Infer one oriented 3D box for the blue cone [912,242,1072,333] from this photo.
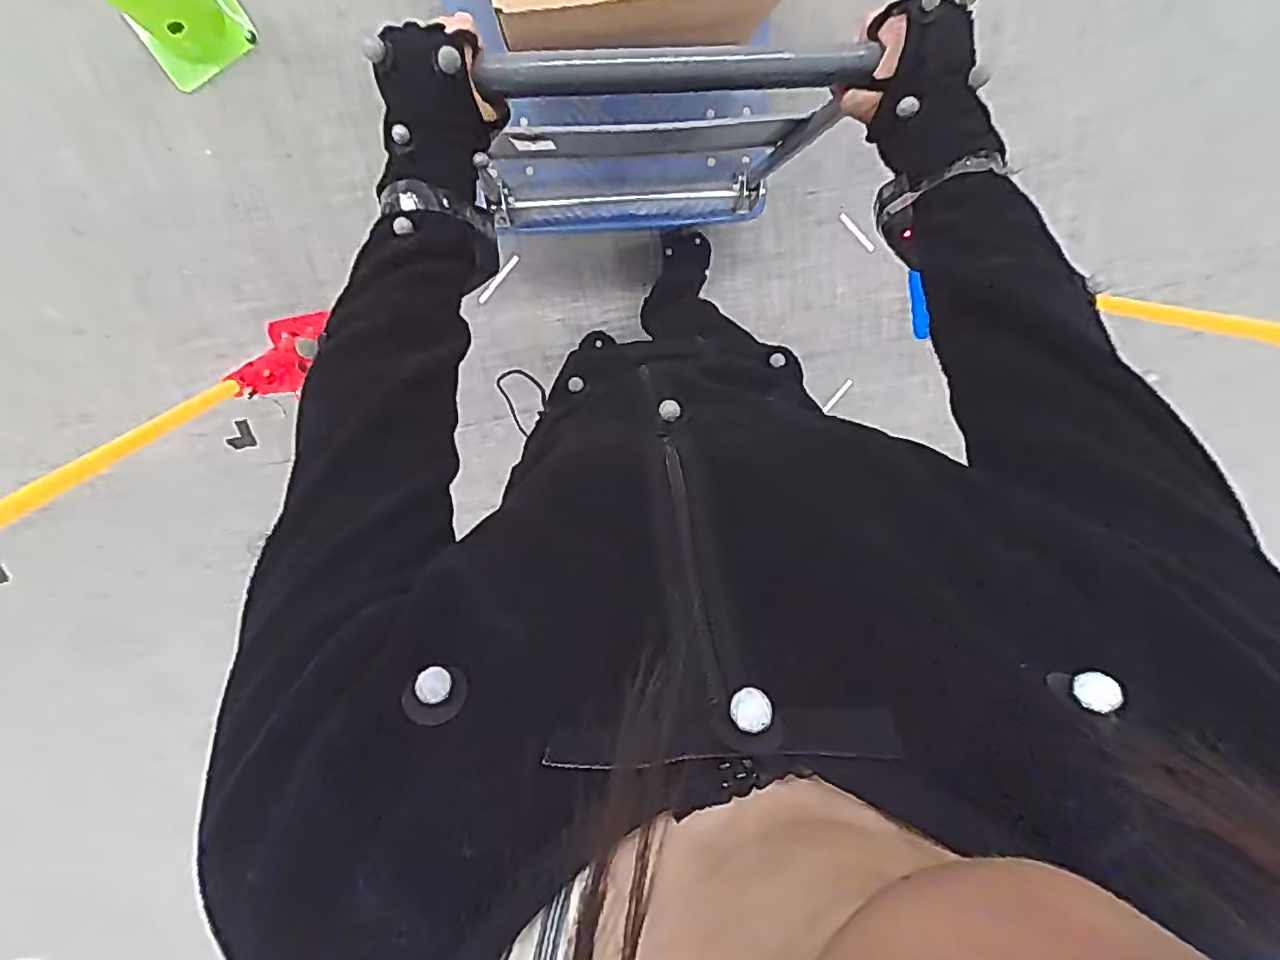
[{"bbox_3d":[0.797,-0.425,1.209,0.193,0.380,0.192,-15,110,0],"label":"blue cone"}]
